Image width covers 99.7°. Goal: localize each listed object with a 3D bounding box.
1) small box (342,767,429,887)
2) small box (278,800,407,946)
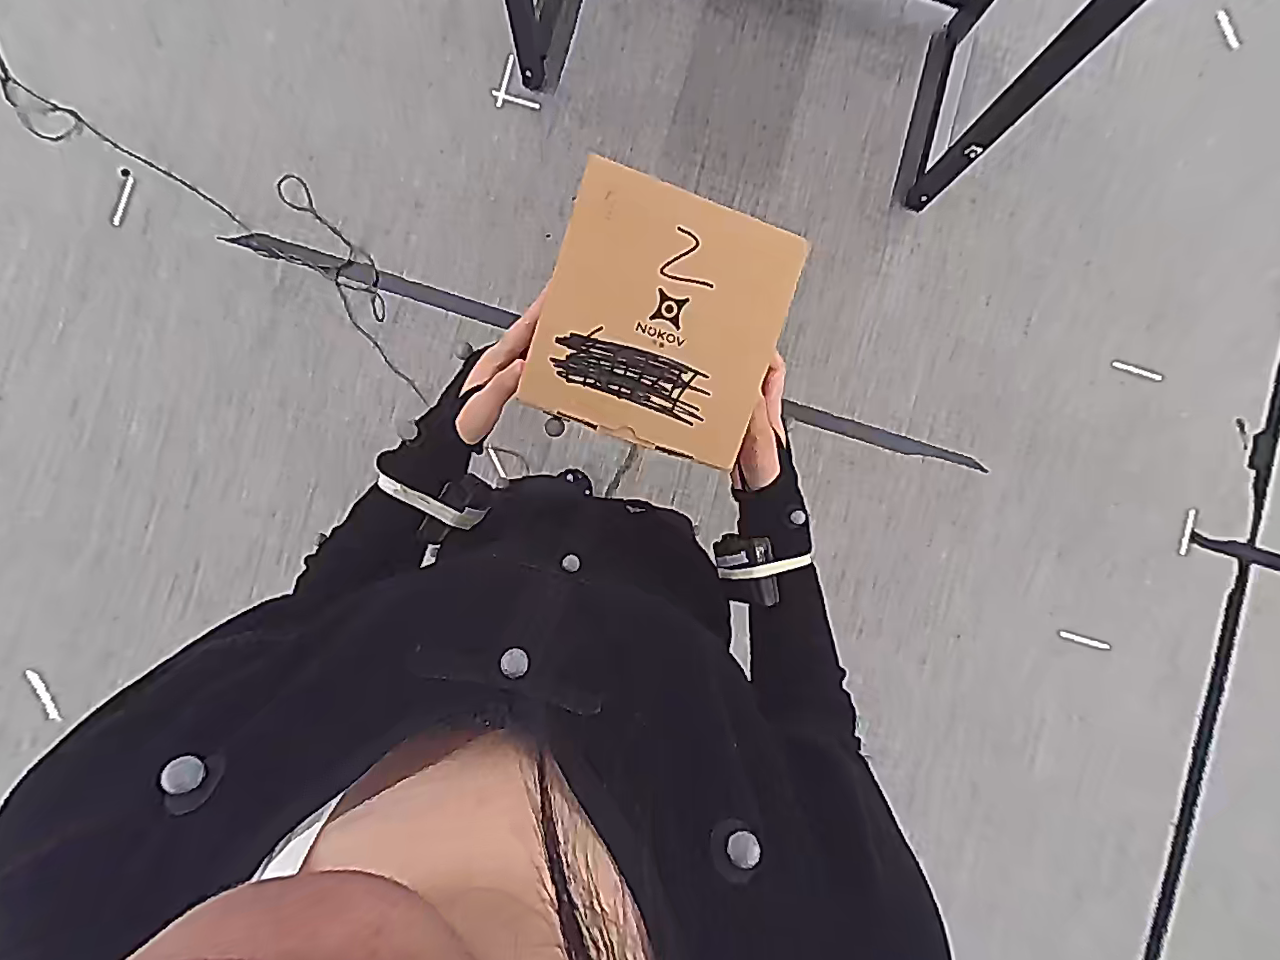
[{"bbox_3d":[-0.652,0.862,1.357,0.168,0.176,0.179,15,87,-3],"label":"small box"},{"bbox_3d":[-0.643,0.856,1.194,0.168,0.176,0.179,19,86,-3],"label":"small box"}]
